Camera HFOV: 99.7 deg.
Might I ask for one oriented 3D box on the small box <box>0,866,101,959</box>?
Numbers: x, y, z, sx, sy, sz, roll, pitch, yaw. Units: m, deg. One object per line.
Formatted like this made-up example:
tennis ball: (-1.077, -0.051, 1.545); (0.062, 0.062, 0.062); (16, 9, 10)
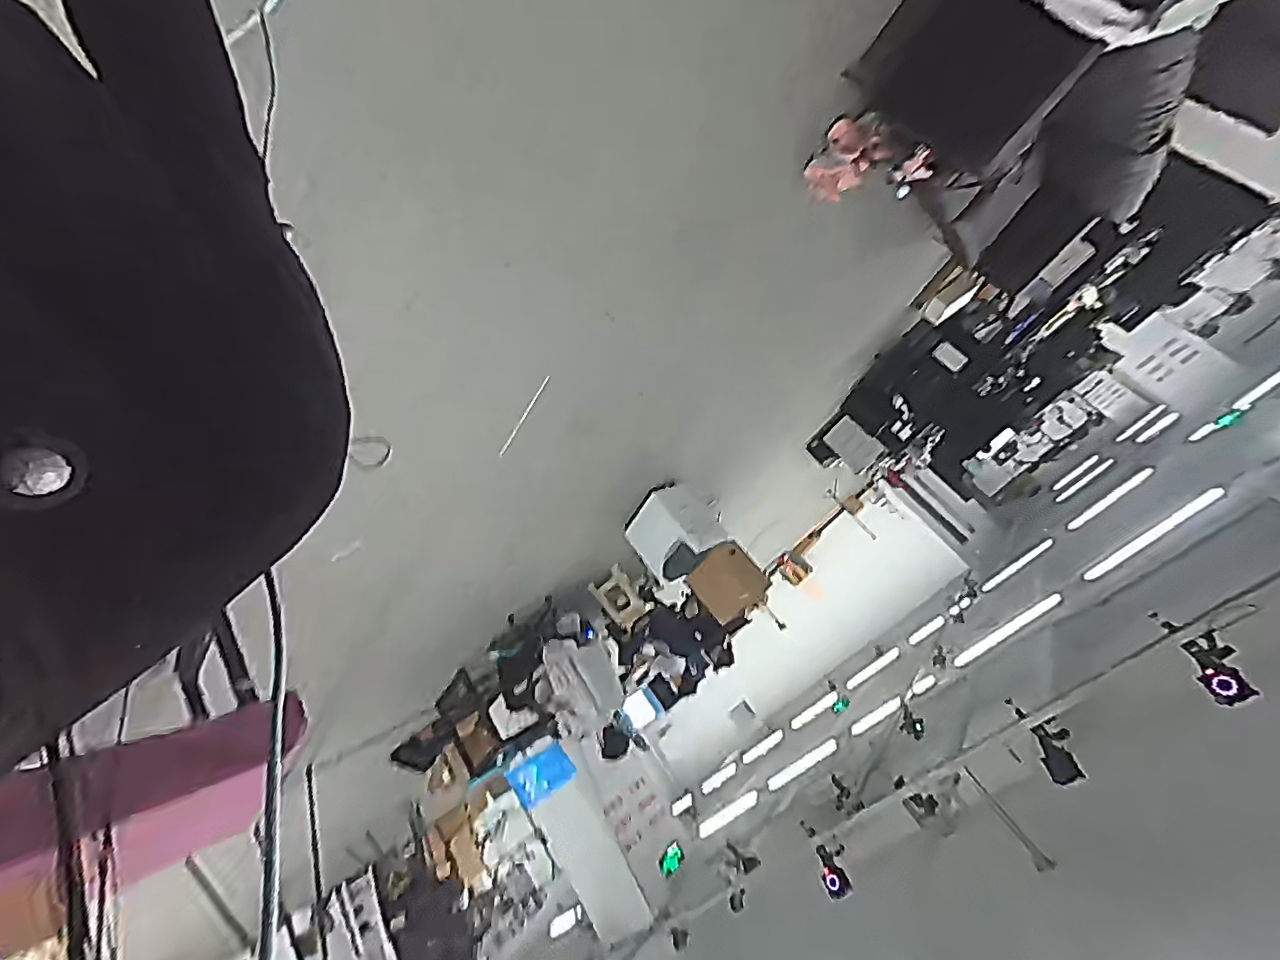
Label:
small box: (-1.575, 1.173, 1.429); (0.179, 0.176, 0.168); (-3, 138, -54)
